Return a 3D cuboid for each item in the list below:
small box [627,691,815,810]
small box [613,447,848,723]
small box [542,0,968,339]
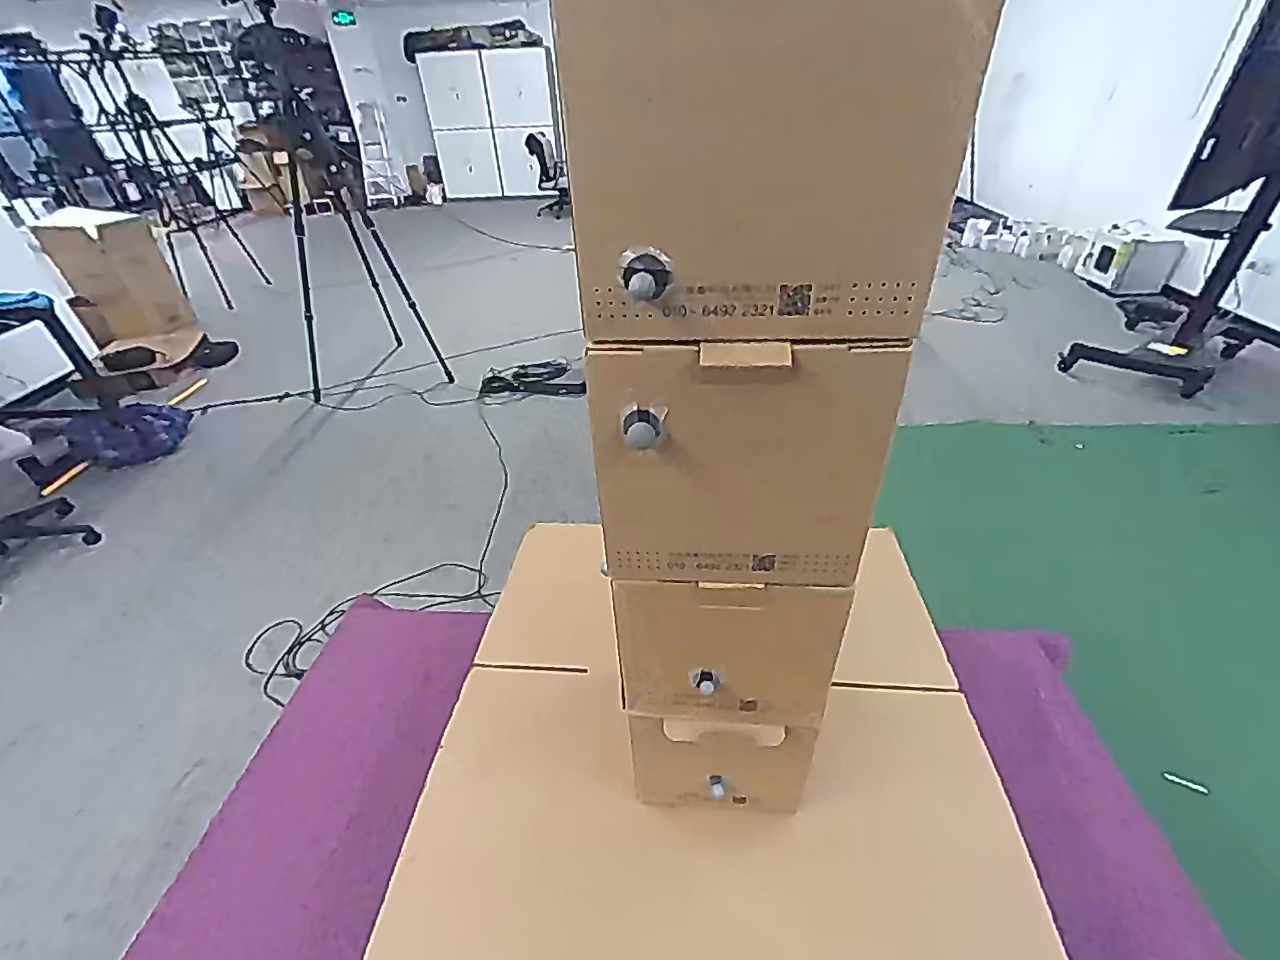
[{"bbox_3d":[0.081,0.219,0.581,0.168,0.176,0.179,0,36,6],"label":"small box"},{"bbox_3d":[0.072,0.087,0.486,0.168,0.176,0.179,1,36,6],"label":"small box"},{"bbox_3d":[0.055,-0.184,0.299,0.168,0.176,0.179,1,34,6],"label":"small box"}]
